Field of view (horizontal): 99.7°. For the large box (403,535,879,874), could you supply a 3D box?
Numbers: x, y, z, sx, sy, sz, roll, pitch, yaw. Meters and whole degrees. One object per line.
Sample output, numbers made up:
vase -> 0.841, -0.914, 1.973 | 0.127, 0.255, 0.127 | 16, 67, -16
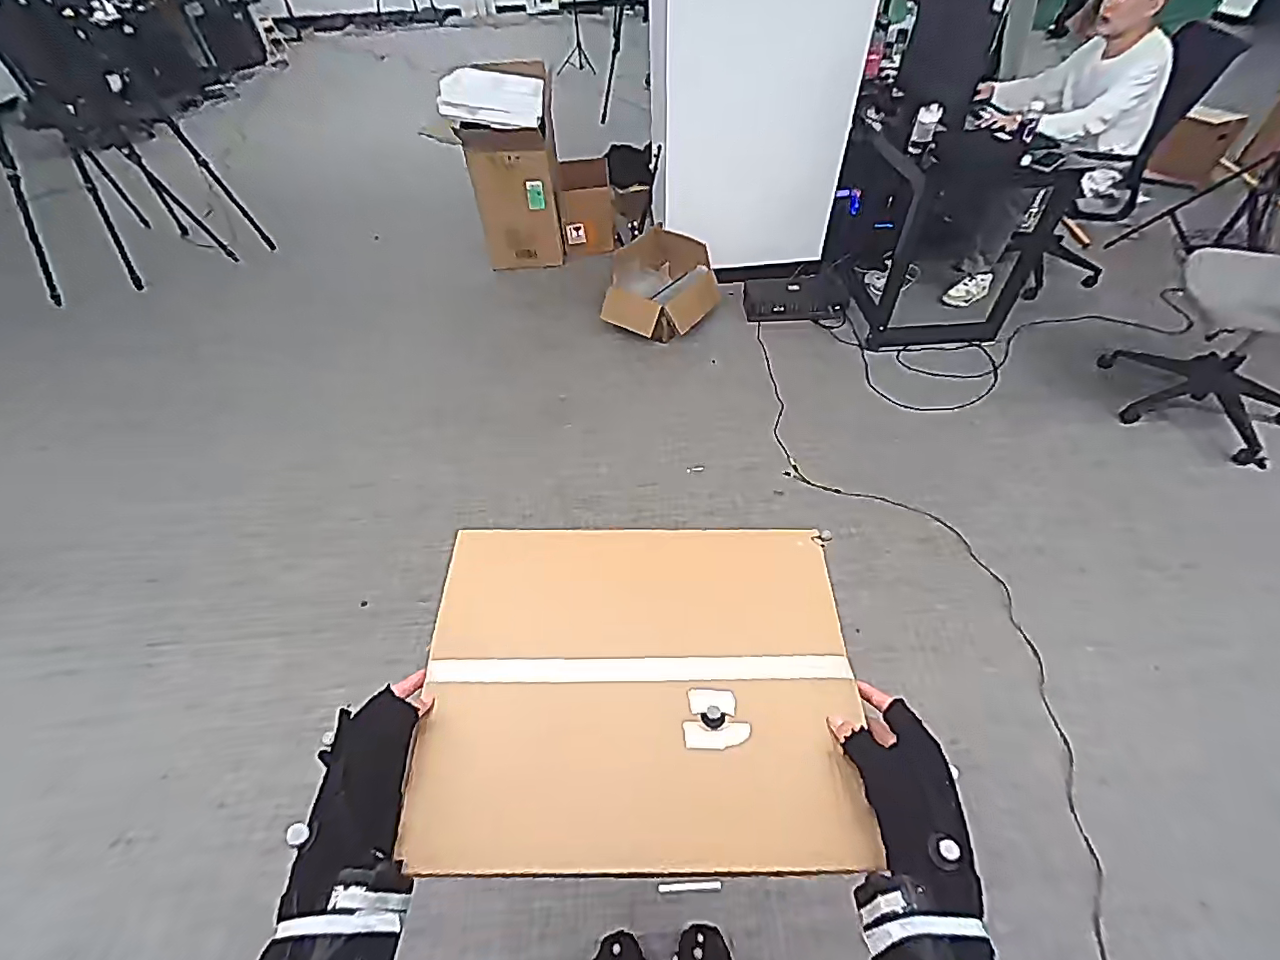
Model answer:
large box -> -0.002, 0.276, 0.651 | 0.408, 0.320, 0.320 | 0, 53, 0
